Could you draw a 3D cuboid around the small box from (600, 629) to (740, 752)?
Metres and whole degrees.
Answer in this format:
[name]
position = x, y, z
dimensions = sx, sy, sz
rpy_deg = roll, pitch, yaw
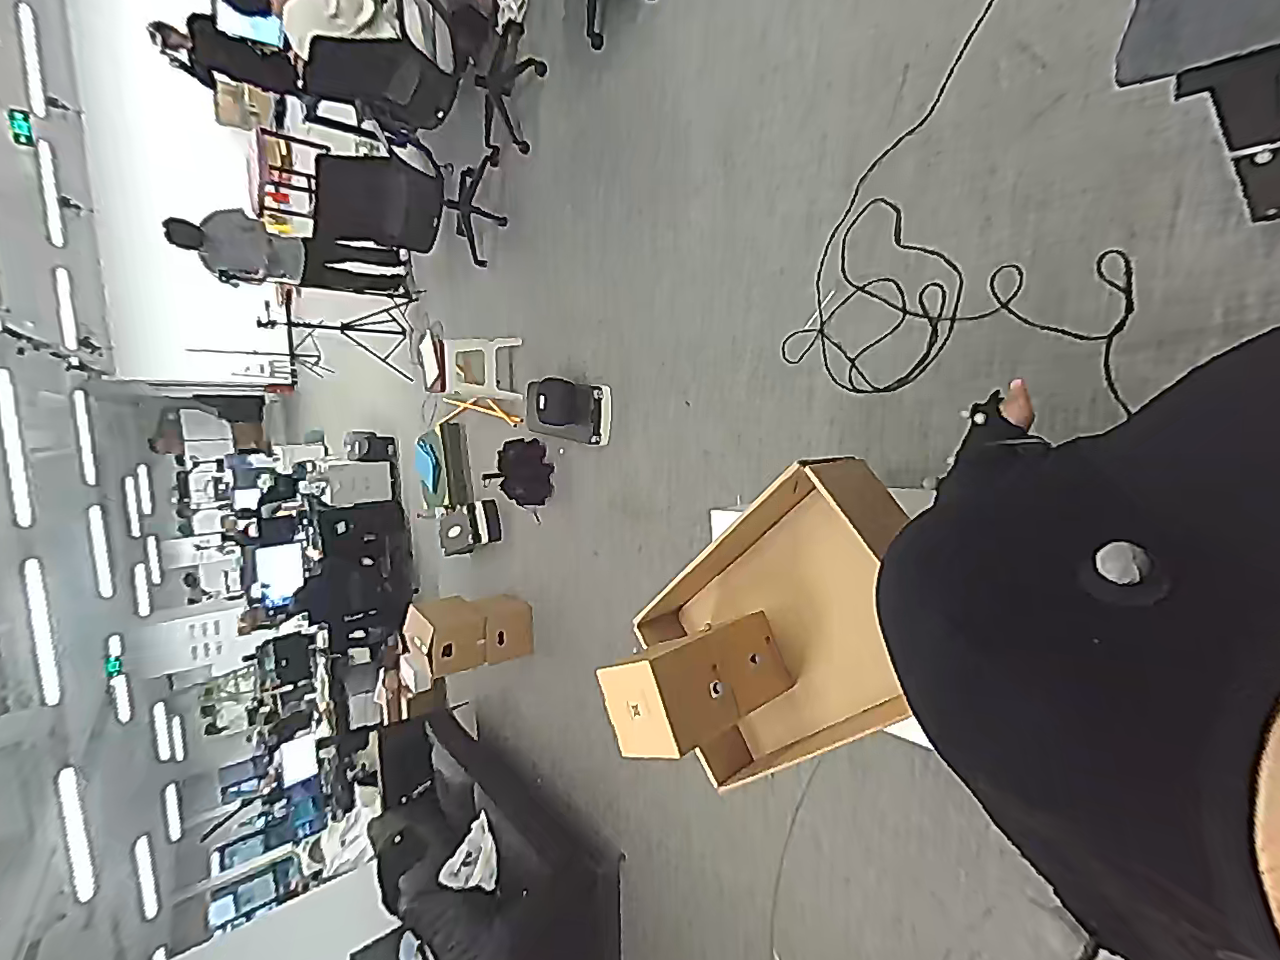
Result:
[small box]
position = 0.056, 0.396, 1.025
dimensions = 0.179, 0.176, 0.168
rpy_deg = -32, 73, 46
